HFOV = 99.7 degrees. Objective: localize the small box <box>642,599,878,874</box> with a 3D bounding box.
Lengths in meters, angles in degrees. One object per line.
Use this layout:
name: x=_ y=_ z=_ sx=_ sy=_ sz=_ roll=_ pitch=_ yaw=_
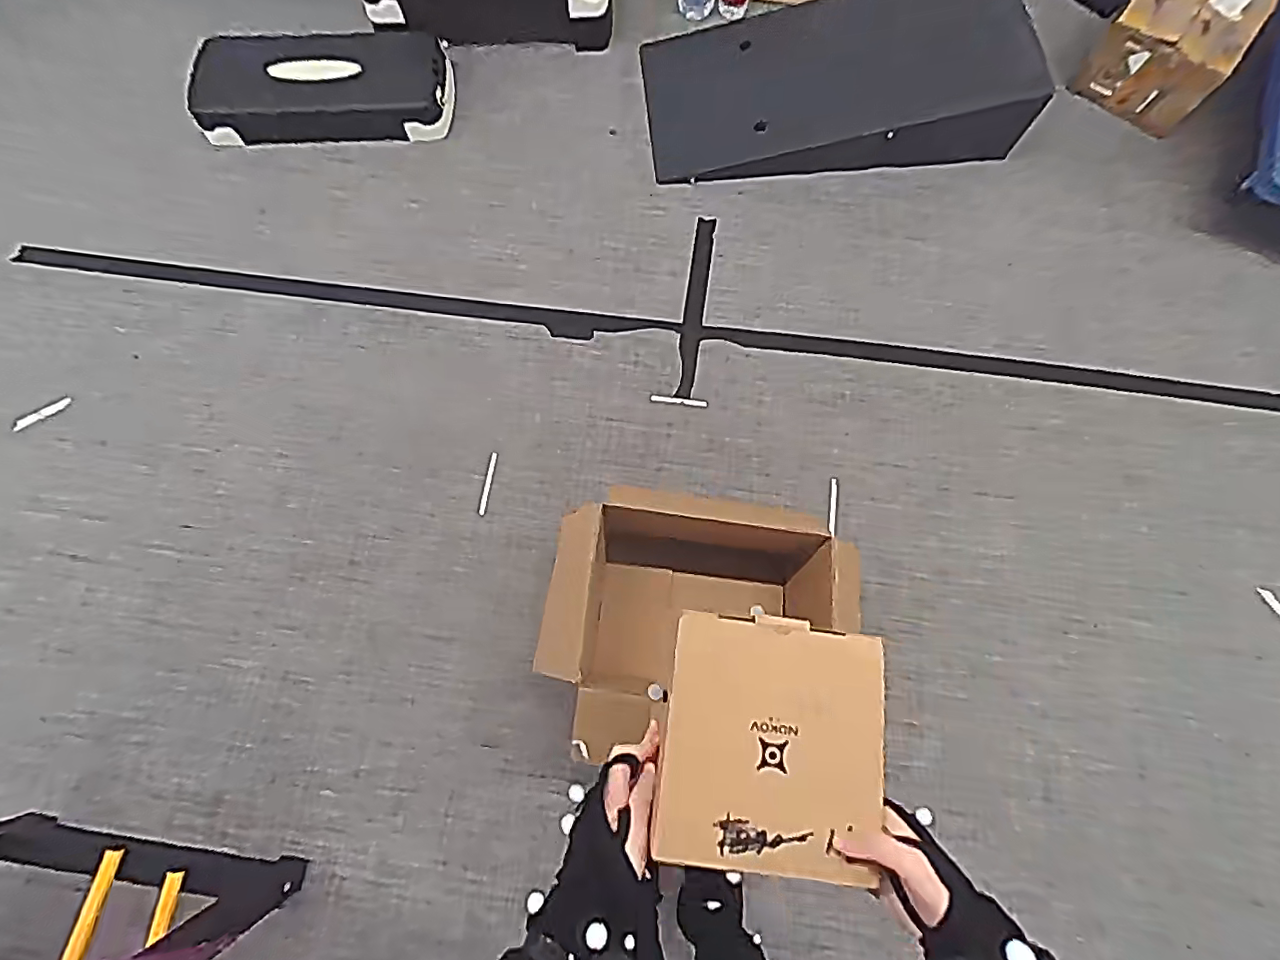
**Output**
small box: x=0.095 y=0.213 z=0.492 sx=0.168 sy=0.176 sz=0.179 roll=9 pitch=74 yaw=0
